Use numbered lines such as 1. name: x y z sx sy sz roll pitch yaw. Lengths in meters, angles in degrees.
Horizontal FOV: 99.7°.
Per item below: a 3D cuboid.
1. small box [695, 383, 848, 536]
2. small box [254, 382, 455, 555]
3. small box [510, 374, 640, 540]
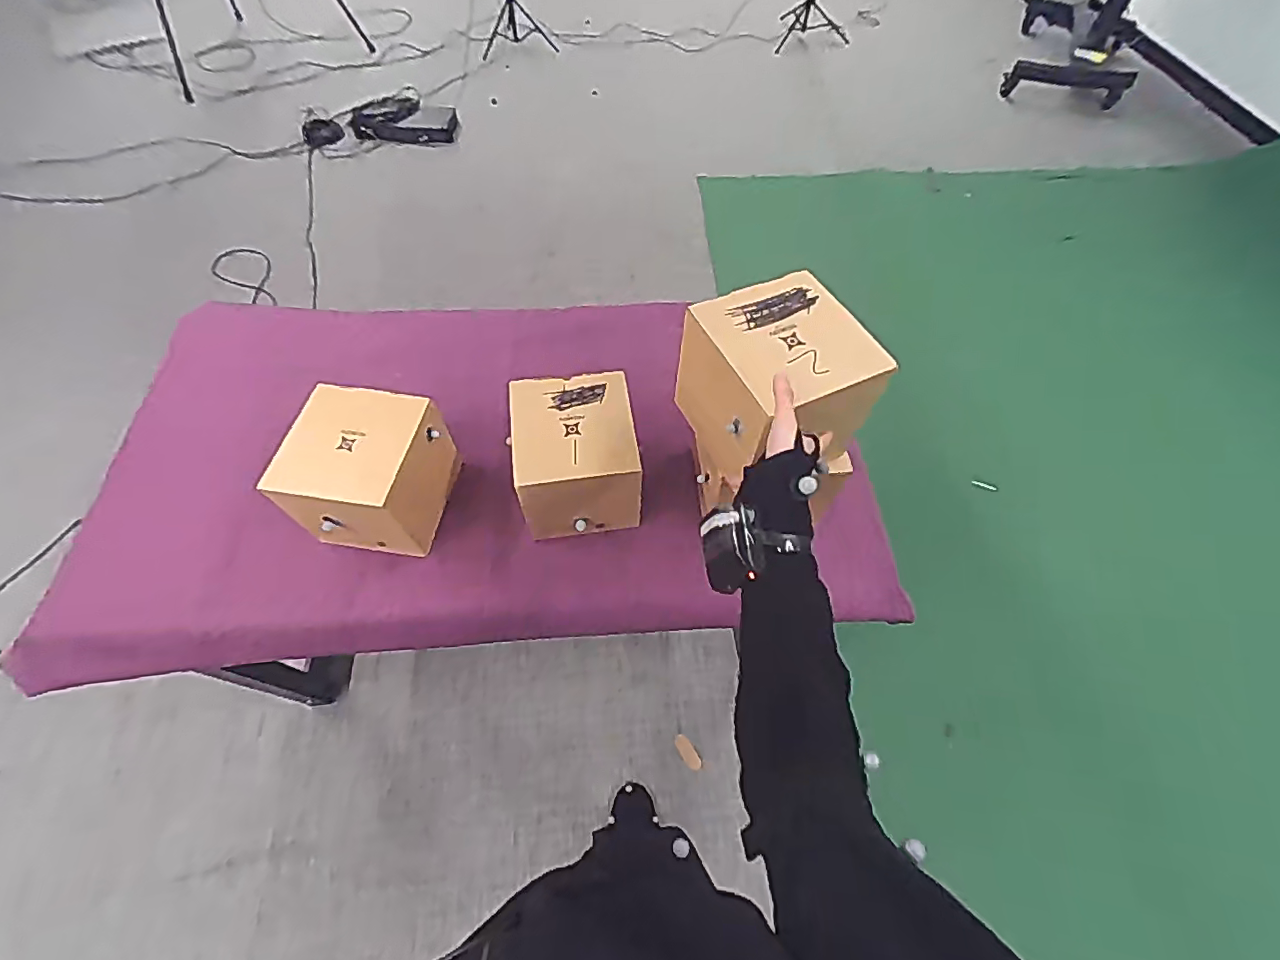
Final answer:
1. small box: 0.177 -0.025 0.799 0.179 0.176 0.168 -1 58 -3
2. small box: -0.384 -0.011 0.770 0.168 0.176 0.179 8 58 3
3. small box: -0.095 -0.031 0.792 0.168 0.176 0.179 -6 60 -6
